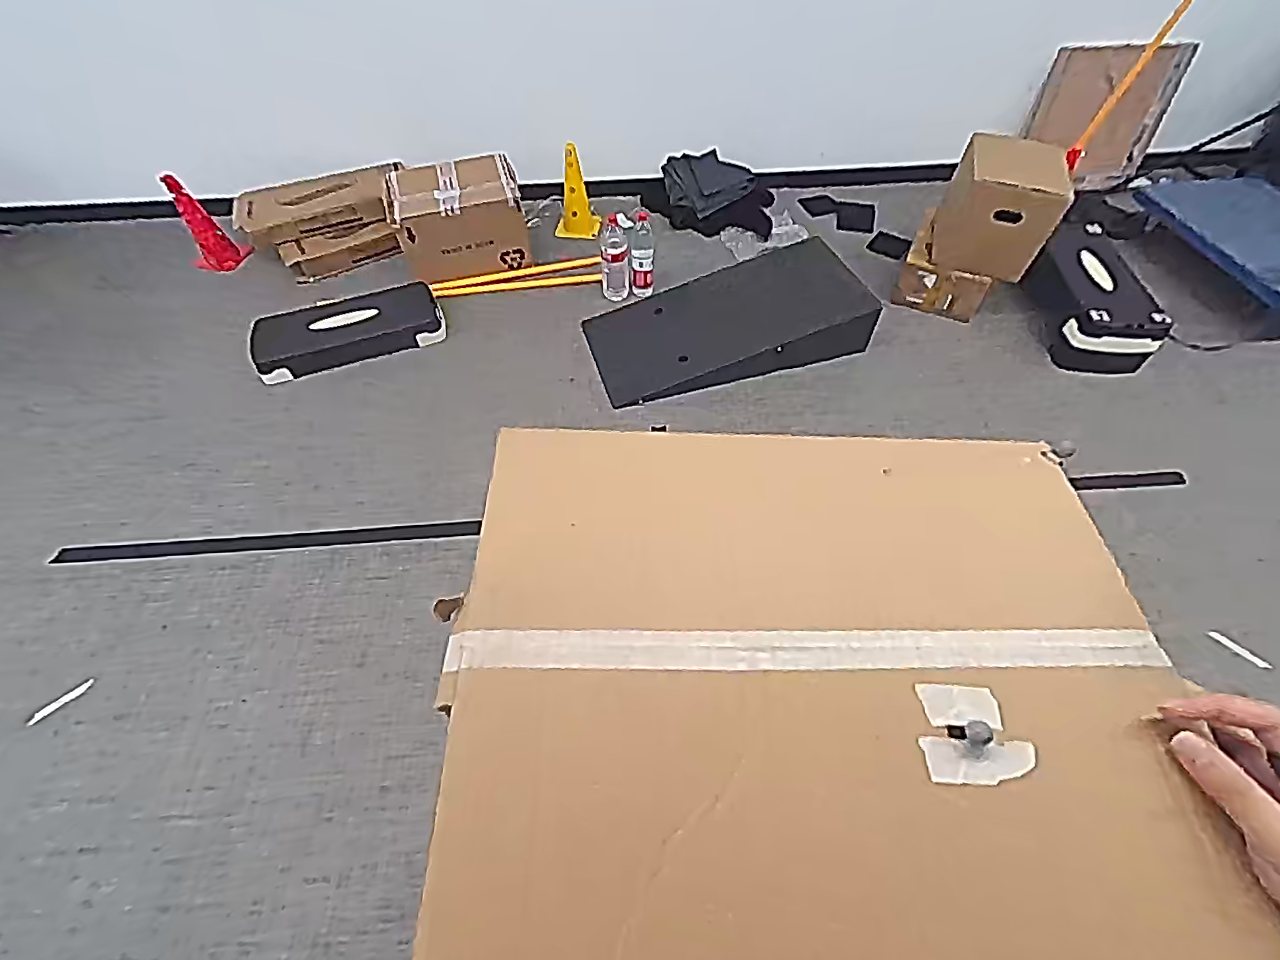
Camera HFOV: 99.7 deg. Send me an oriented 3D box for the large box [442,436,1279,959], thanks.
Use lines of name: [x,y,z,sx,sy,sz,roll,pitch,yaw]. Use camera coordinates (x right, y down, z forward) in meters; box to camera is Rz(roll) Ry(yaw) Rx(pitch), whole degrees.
large box: [0.094,0.181,0.444,0.408,0.320,0.320,2,57,-4]
